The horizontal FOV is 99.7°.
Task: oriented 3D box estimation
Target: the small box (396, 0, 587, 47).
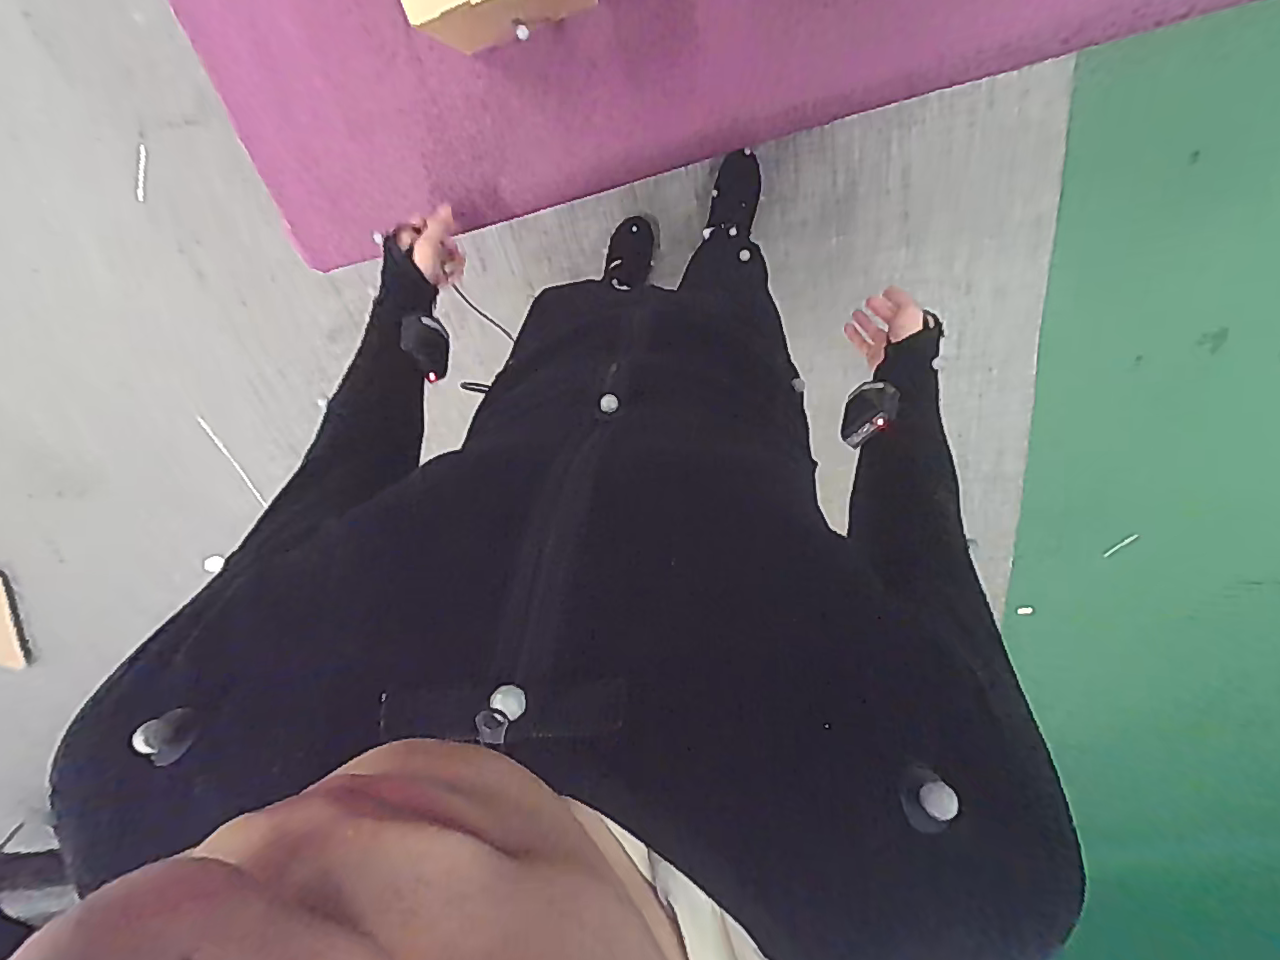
[{"bbox_3d":[-0.154,-0.543,0.500,0.168,0.176,0.179,-12,120,10],"label":"small box"}]
